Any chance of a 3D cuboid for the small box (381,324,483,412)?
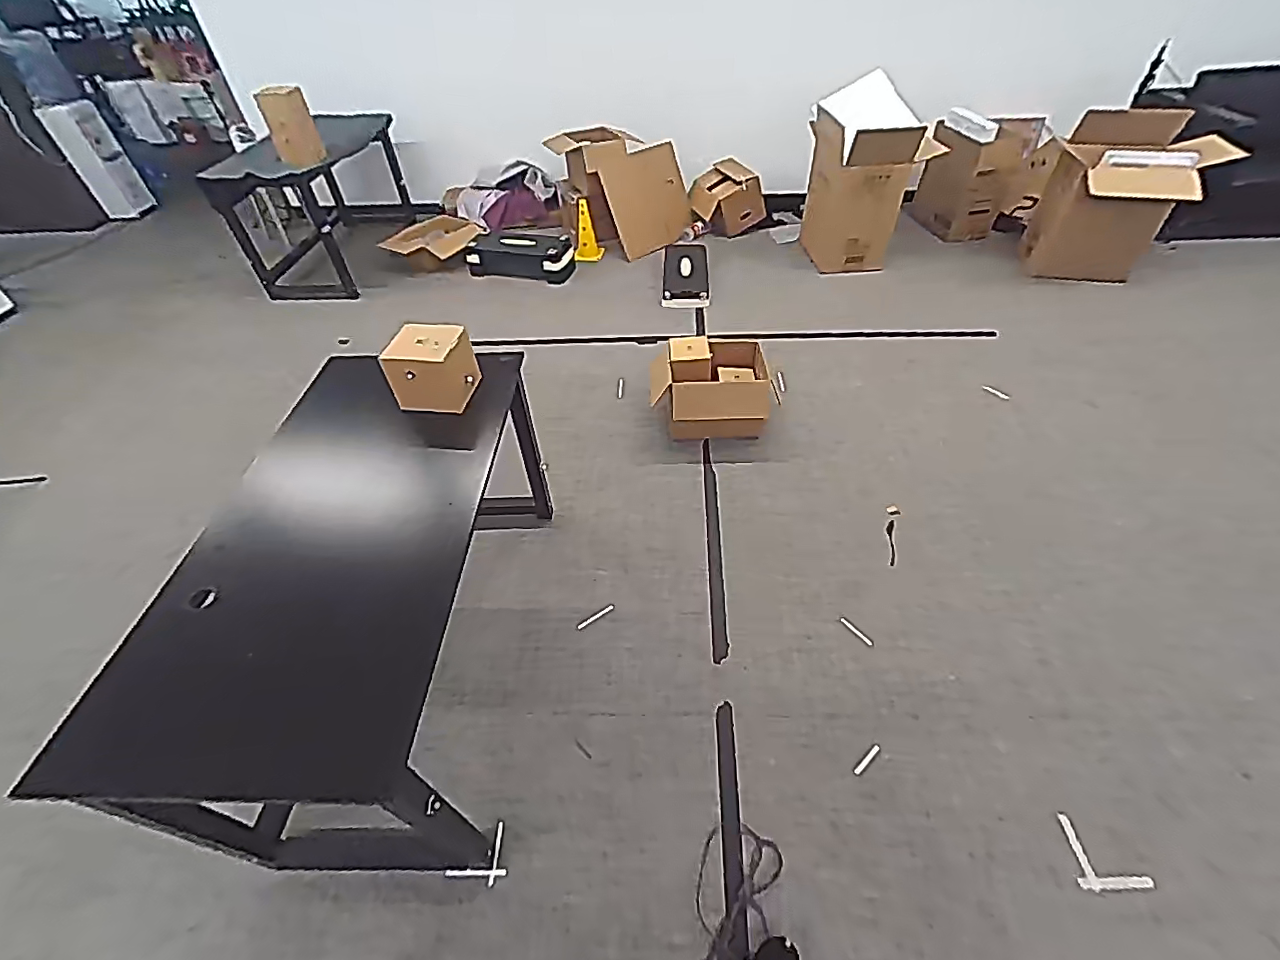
[{"bbox_3d":[-0.548,-0.299,1.449,0.179,0.176,0.168,5,48,8],"label":"small box"}]
